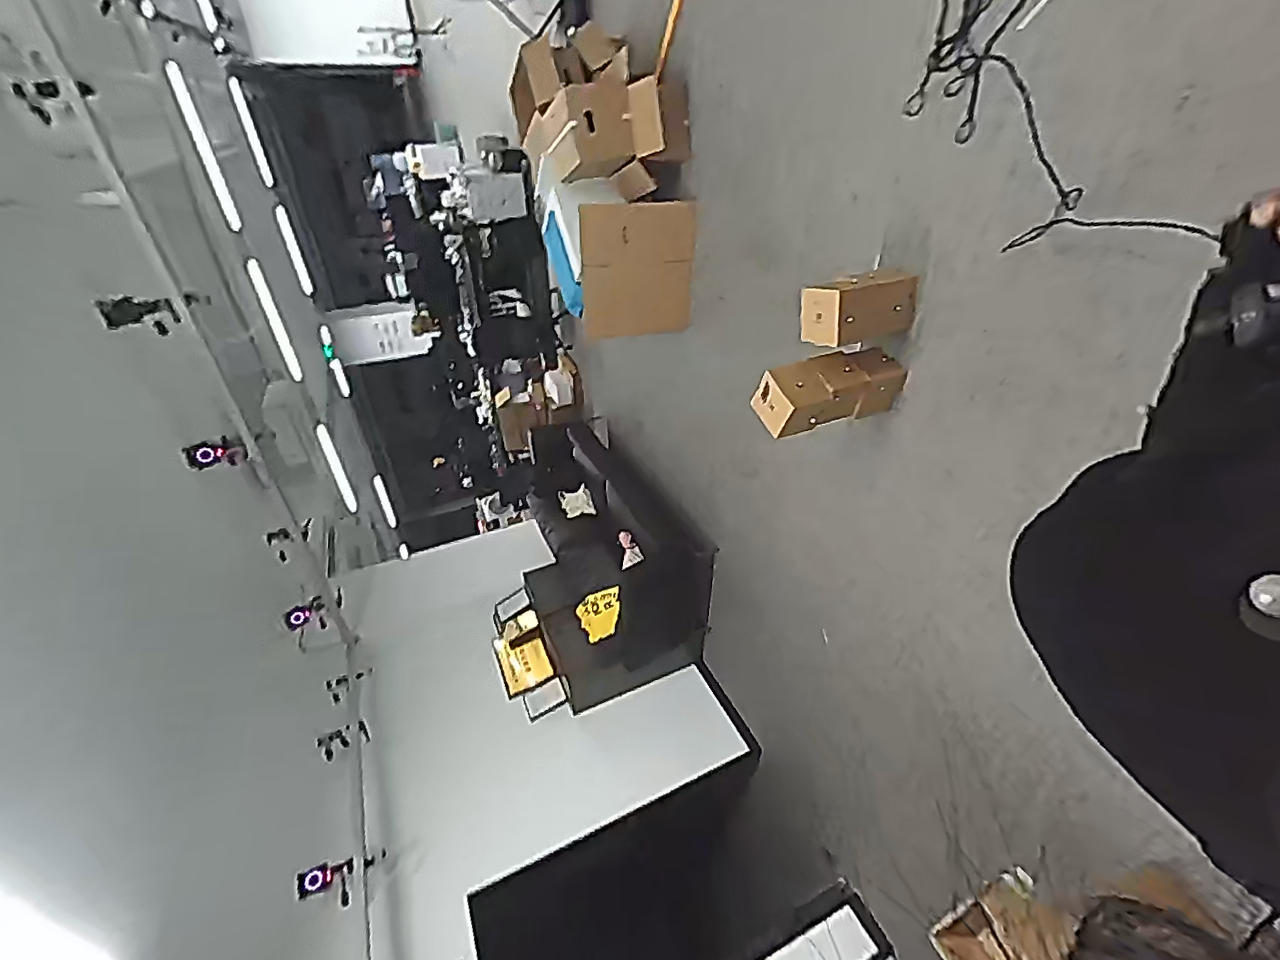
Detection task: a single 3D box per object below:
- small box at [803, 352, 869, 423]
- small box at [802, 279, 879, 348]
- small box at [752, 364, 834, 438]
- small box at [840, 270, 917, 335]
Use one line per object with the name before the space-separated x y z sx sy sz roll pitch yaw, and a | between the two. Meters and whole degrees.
small box | 0.659 -0.319 1.879 0.179 0.176 0.168 101 148 -51
small box | 0.643 -0.539 1.737 0.168 0.176 0.179 39 141 57
small box | 0.513 -0.271 1.819 0.168 0.176 0.179 105 143 -55
small box | 0.785 -0.595 1.796 0.179 0.176 0.168 -135 34 -54
